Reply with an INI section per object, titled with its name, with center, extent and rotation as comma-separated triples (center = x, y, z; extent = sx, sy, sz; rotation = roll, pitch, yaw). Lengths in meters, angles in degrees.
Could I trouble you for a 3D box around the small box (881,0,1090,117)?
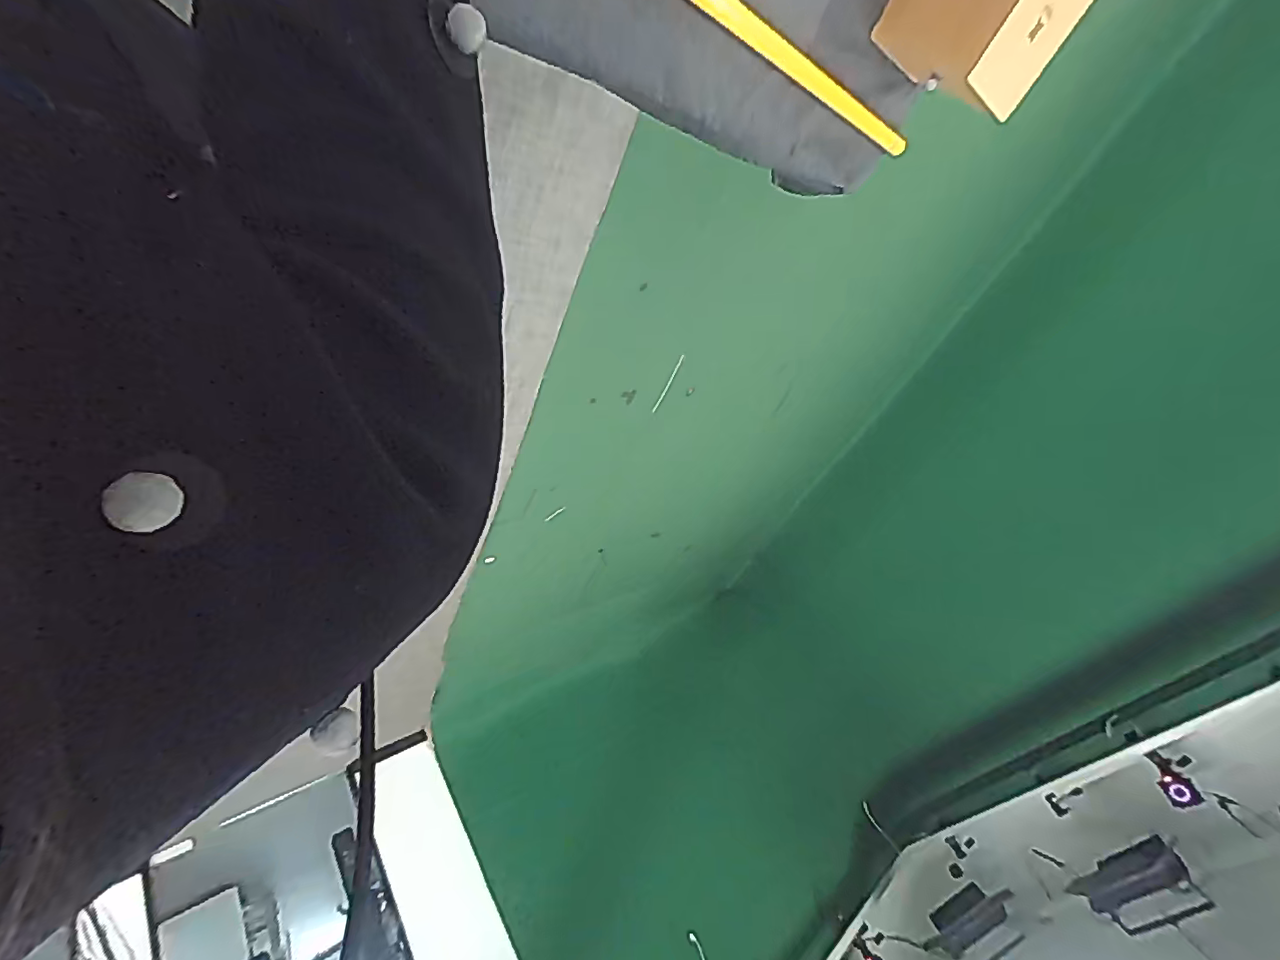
[small box]
center = 0.447, -0.624, 0.706
extent = 0.168, 0.176, 0.179
rotation = -9, 140, -42
